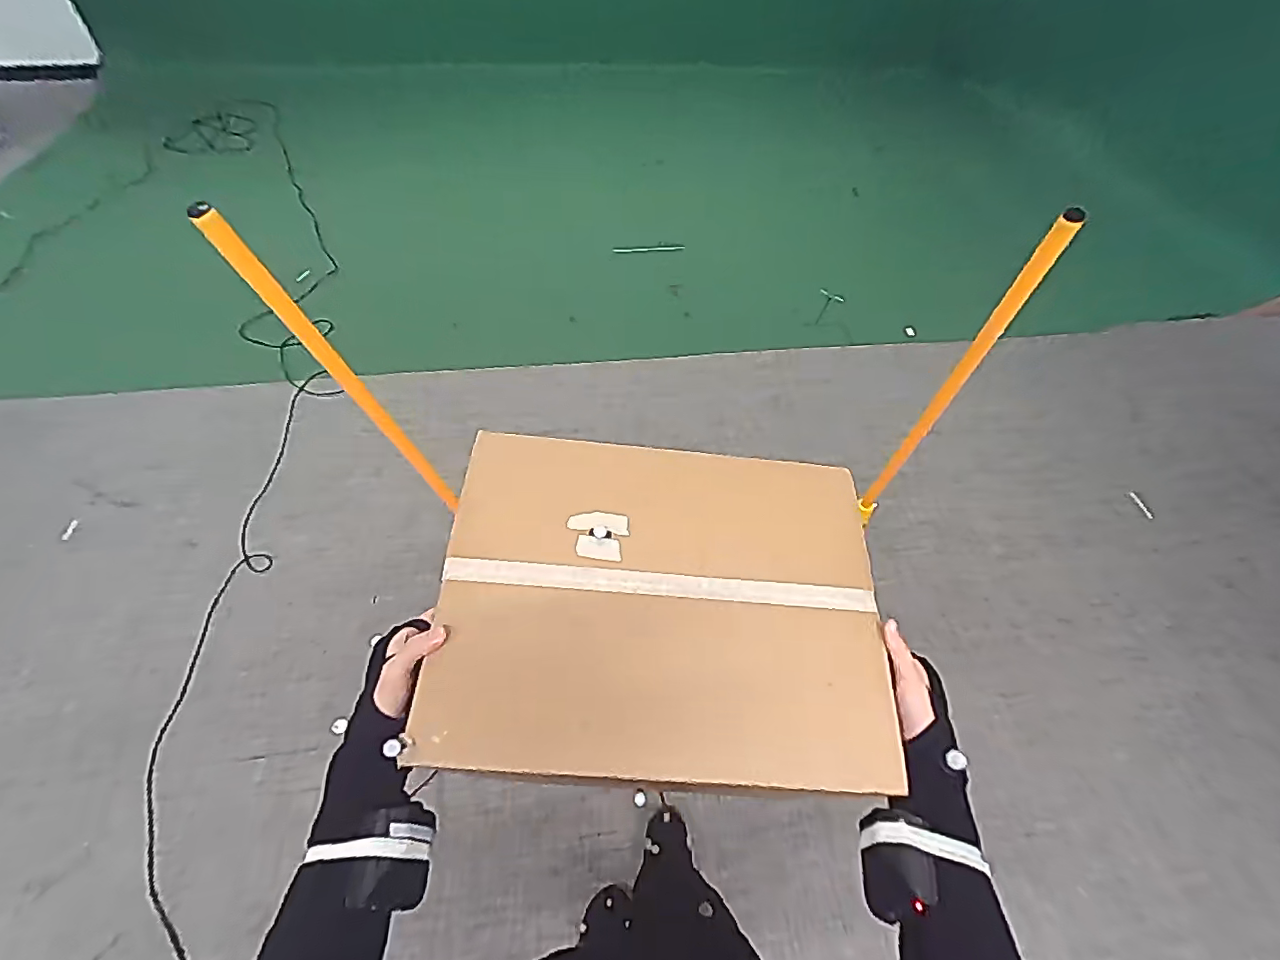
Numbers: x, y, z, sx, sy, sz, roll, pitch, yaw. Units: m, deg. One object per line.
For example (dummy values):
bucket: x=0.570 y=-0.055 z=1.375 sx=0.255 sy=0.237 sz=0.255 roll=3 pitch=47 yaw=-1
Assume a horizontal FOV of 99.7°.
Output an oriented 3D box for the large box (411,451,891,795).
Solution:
large box: x=0.008 y=0.188 z=0.643 sx=0.408 sy=0.320 sz=0.320 roll=5 pitch=58 yaw=-3
